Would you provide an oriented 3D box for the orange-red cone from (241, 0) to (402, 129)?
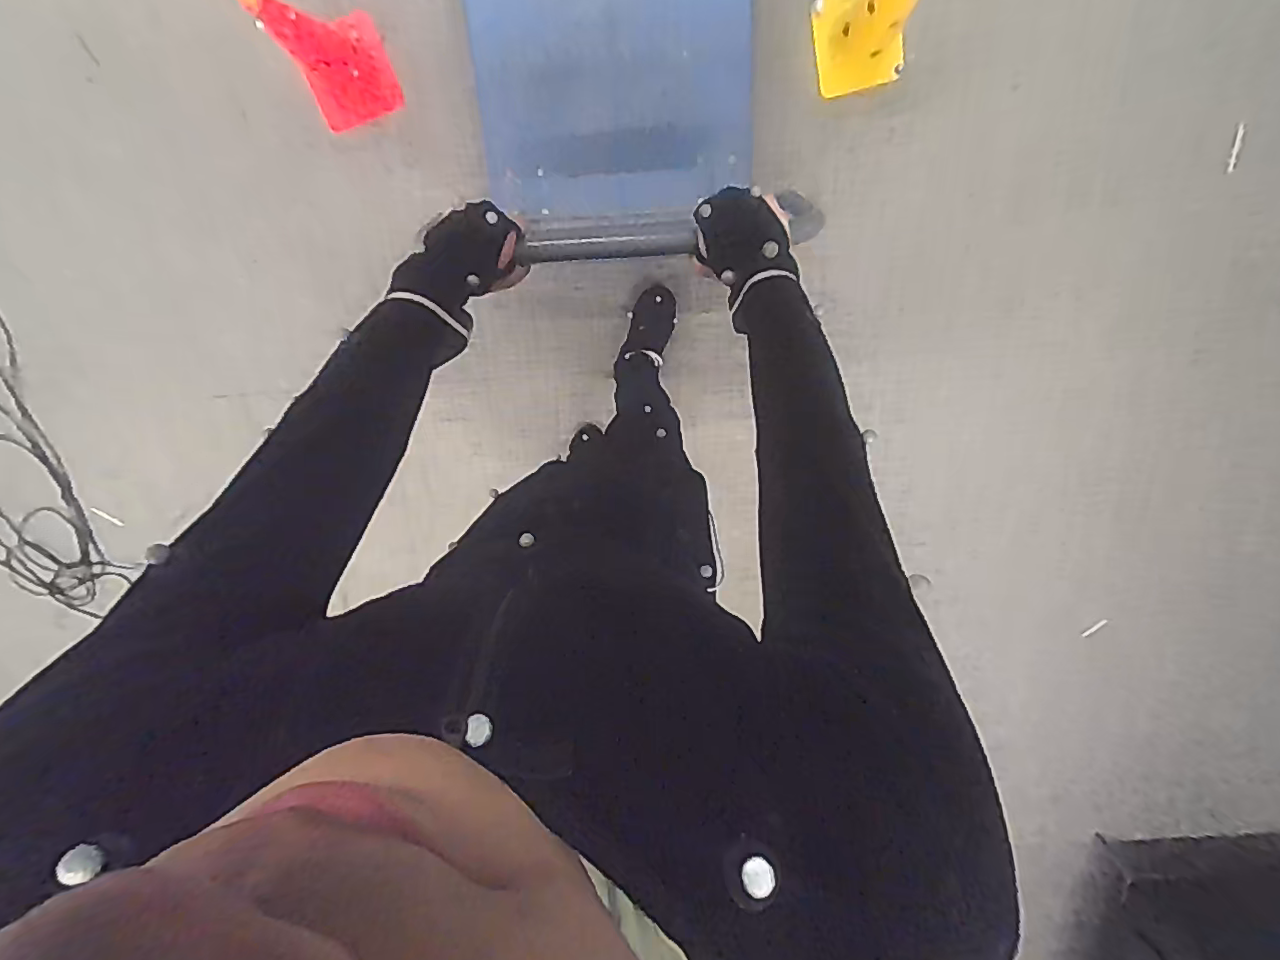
[{"bbox_3d":[-0.672,-0.887,1.089,0.199,0.360,0.198,-16,108,6],"label":"orange-red cone"}]
